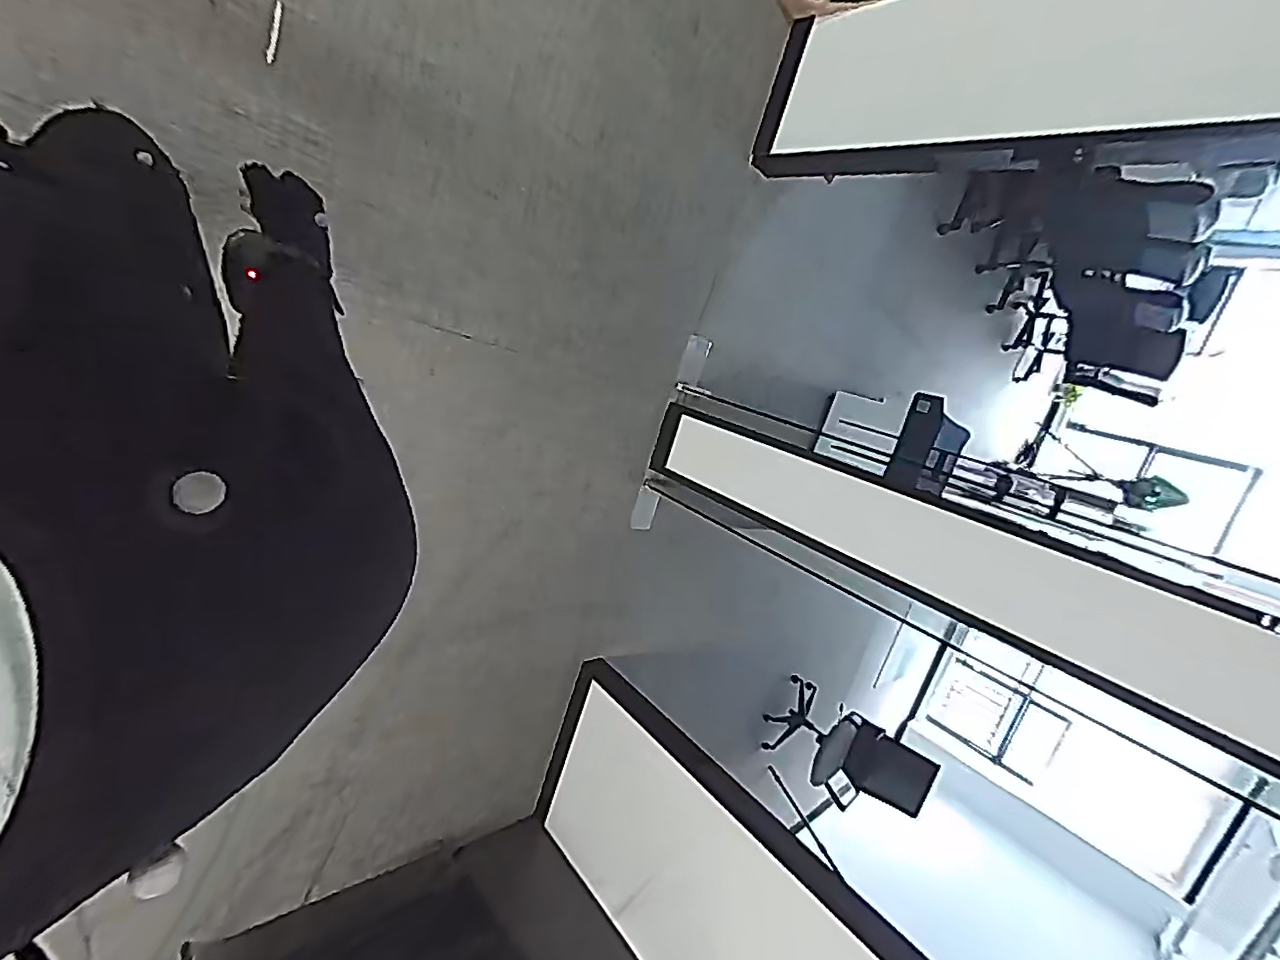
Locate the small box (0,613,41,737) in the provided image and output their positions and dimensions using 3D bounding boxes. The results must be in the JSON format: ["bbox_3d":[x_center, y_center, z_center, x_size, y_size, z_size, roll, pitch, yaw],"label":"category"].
[{"bbox_3d":[-1.281,0.377,1.034,0.168,0.176,0.179,8,105,-47],"label":"small box"}]
